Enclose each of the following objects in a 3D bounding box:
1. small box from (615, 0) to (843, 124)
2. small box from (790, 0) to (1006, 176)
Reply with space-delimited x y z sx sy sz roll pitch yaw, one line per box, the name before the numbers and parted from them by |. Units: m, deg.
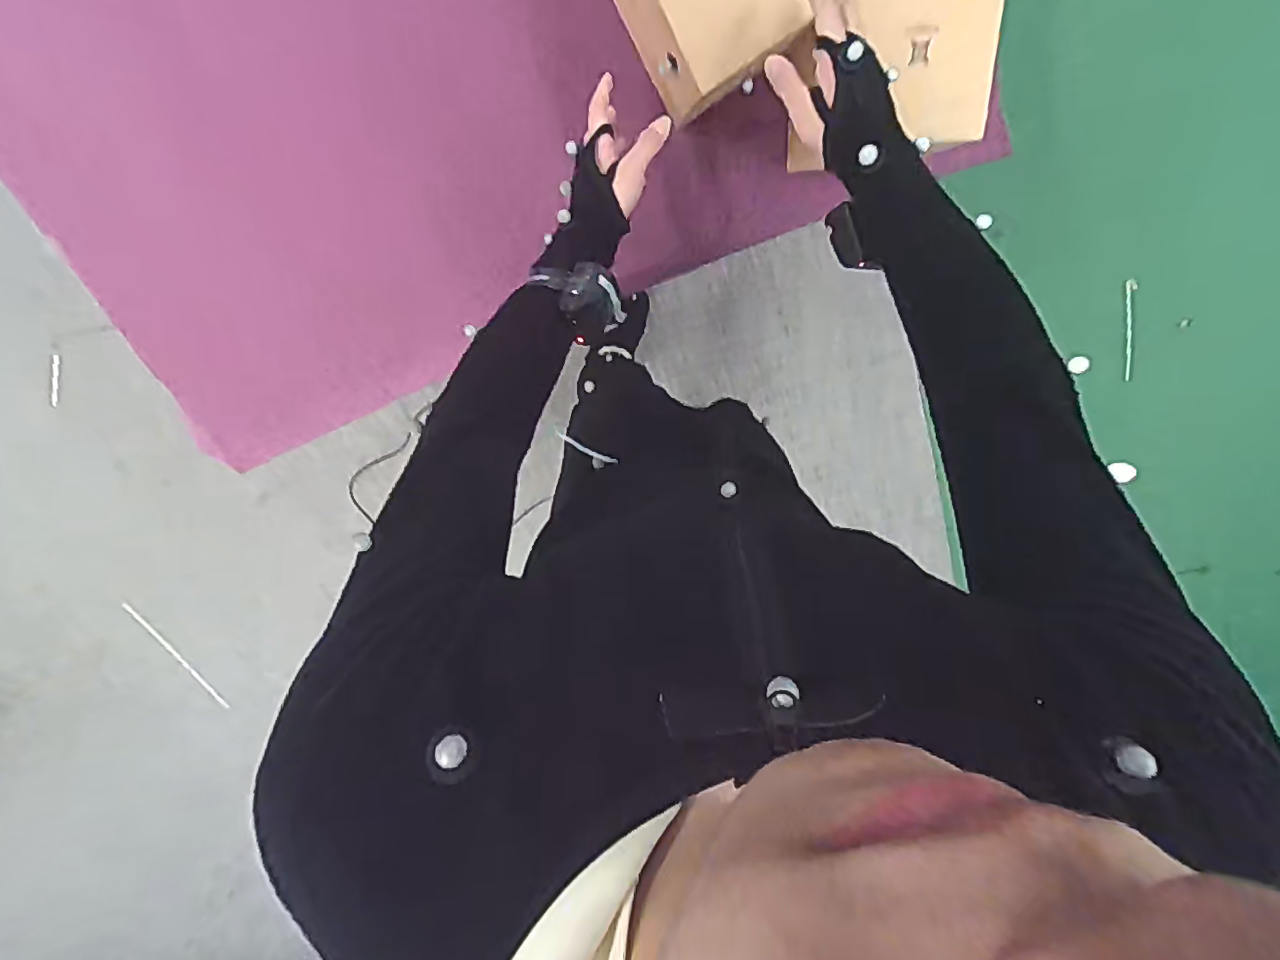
small box | 0.084 -0.522 0.586 0.168 0.176 0.179 -31 111 7
small box | 0.283 -0.464 0.630 0.168 0.176 0.179 -5 111 -3
